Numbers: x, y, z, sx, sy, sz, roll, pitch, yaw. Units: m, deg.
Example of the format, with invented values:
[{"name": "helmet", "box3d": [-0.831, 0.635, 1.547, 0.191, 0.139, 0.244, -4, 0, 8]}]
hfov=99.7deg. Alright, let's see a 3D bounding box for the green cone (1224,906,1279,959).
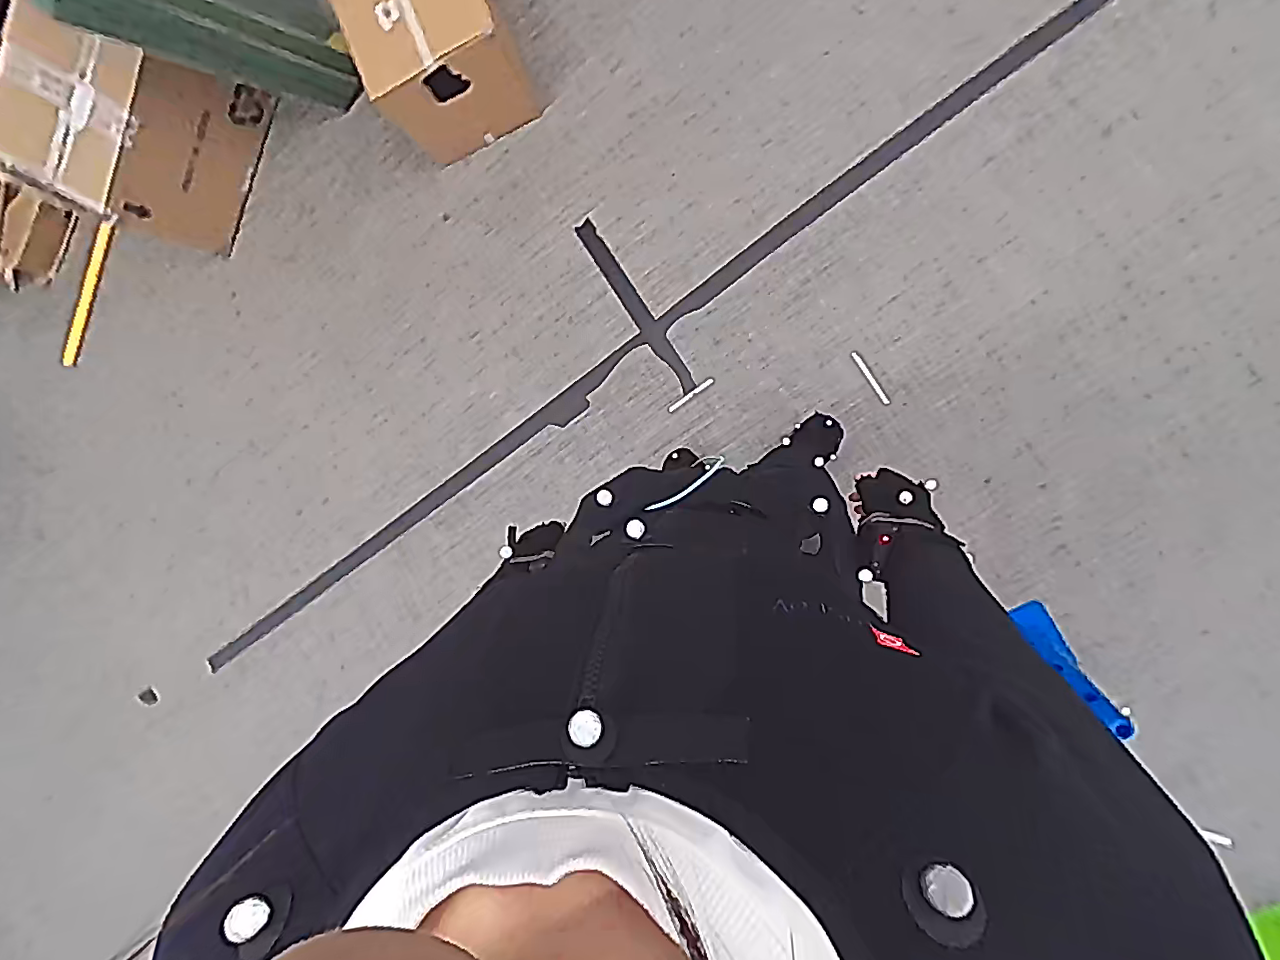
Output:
[{"name": "green cone", "box3d": [1.498, 1.122, 1.108, 0.202, 0.368, 0.200, -33, 89, 10]}]
